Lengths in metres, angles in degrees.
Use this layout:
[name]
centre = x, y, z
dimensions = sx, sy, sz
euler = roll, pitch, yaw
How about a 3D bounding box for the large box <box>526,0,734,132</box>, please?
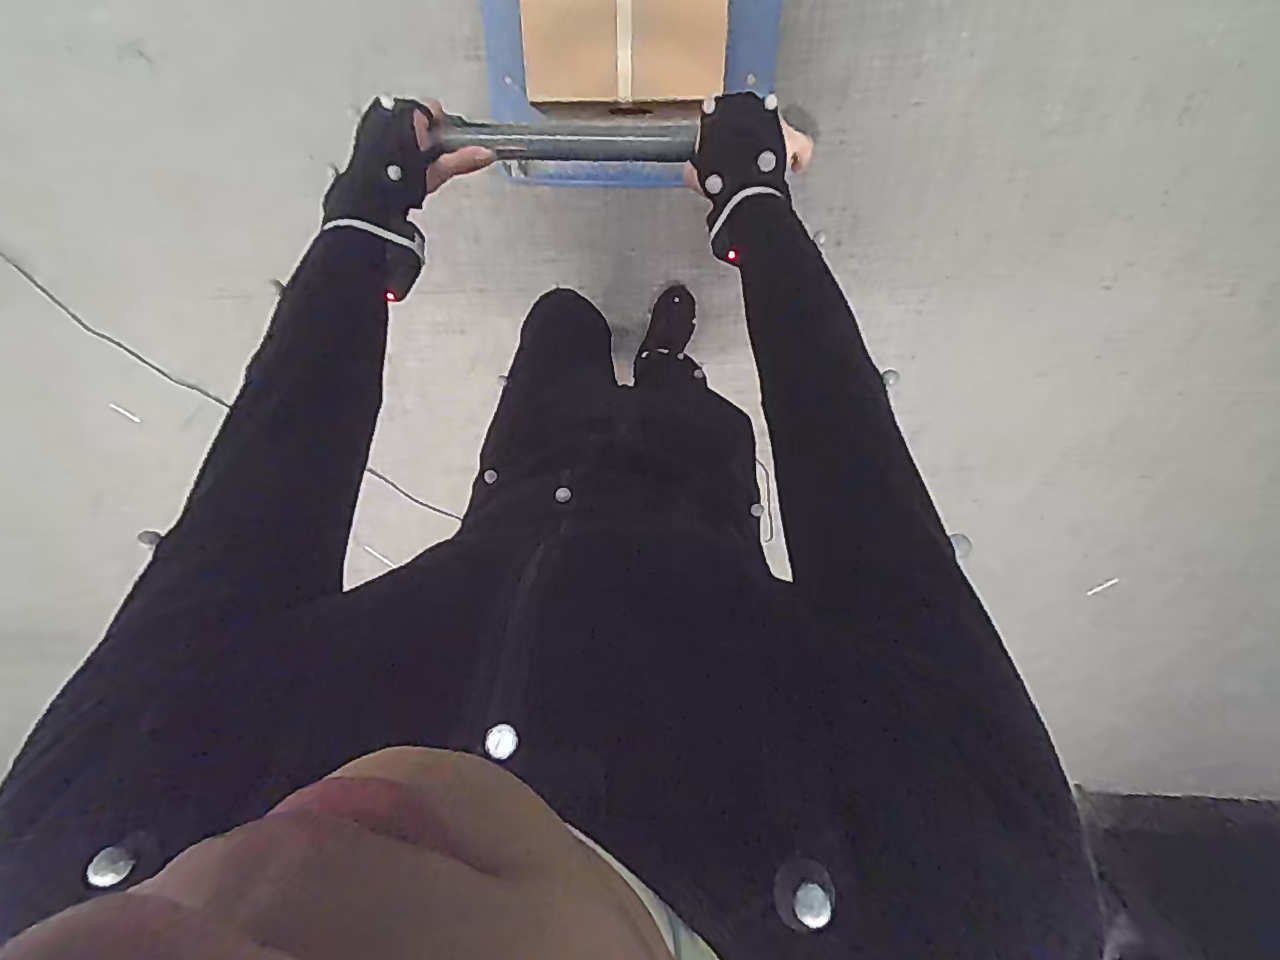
[large box]
centre = -0.006, -0.846, 0.907
dimensions = 0.320, 0.320, 0.408
euler = 2, 115, 3
